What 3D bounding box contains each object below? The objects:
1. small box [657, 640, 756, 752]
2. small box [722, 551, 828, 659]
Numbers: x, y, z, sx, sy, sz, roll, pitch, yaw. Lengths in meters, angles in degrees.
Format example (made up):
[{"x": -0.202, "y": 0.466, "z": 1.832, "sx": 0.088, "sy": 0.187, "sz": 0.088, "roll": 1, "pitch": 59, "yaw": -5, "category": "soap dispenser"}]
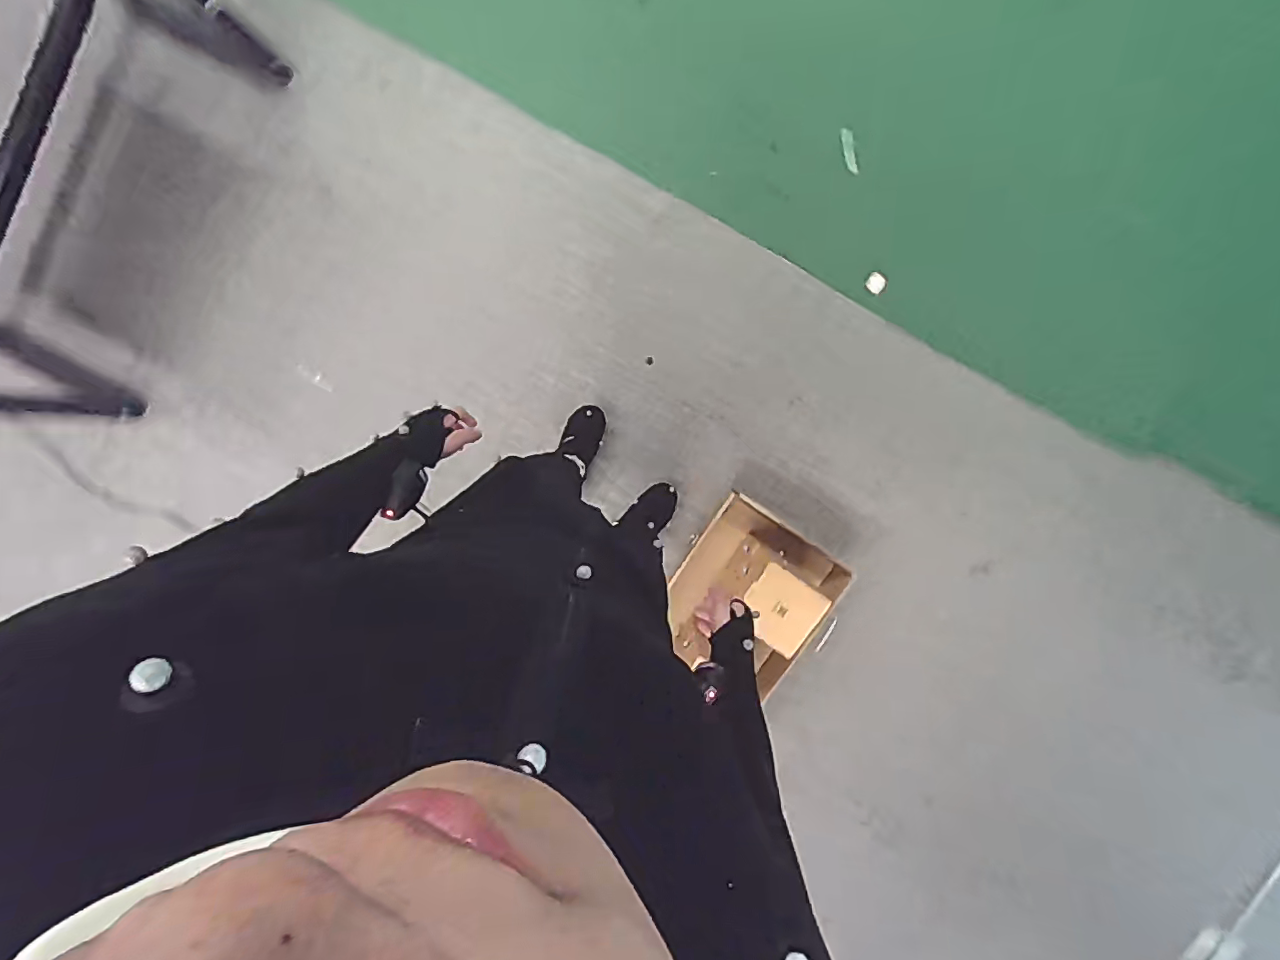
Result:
[{"x": 0.156, "y": 0.525, "z": 1.347, "sx": 0.179, "sy": 0.176, "sz": 0.168, "roll": 37, "pitch": 94, "yaw": -1, "category": "small box"}, {"x": 0.322, "y": 0.296, "z": 1.323, "sx": 0.179, "sy": 0.176, "sz": 0.168, "roll": 35, "pitch": 96, "yaw": -1, "category": "small box"}]
